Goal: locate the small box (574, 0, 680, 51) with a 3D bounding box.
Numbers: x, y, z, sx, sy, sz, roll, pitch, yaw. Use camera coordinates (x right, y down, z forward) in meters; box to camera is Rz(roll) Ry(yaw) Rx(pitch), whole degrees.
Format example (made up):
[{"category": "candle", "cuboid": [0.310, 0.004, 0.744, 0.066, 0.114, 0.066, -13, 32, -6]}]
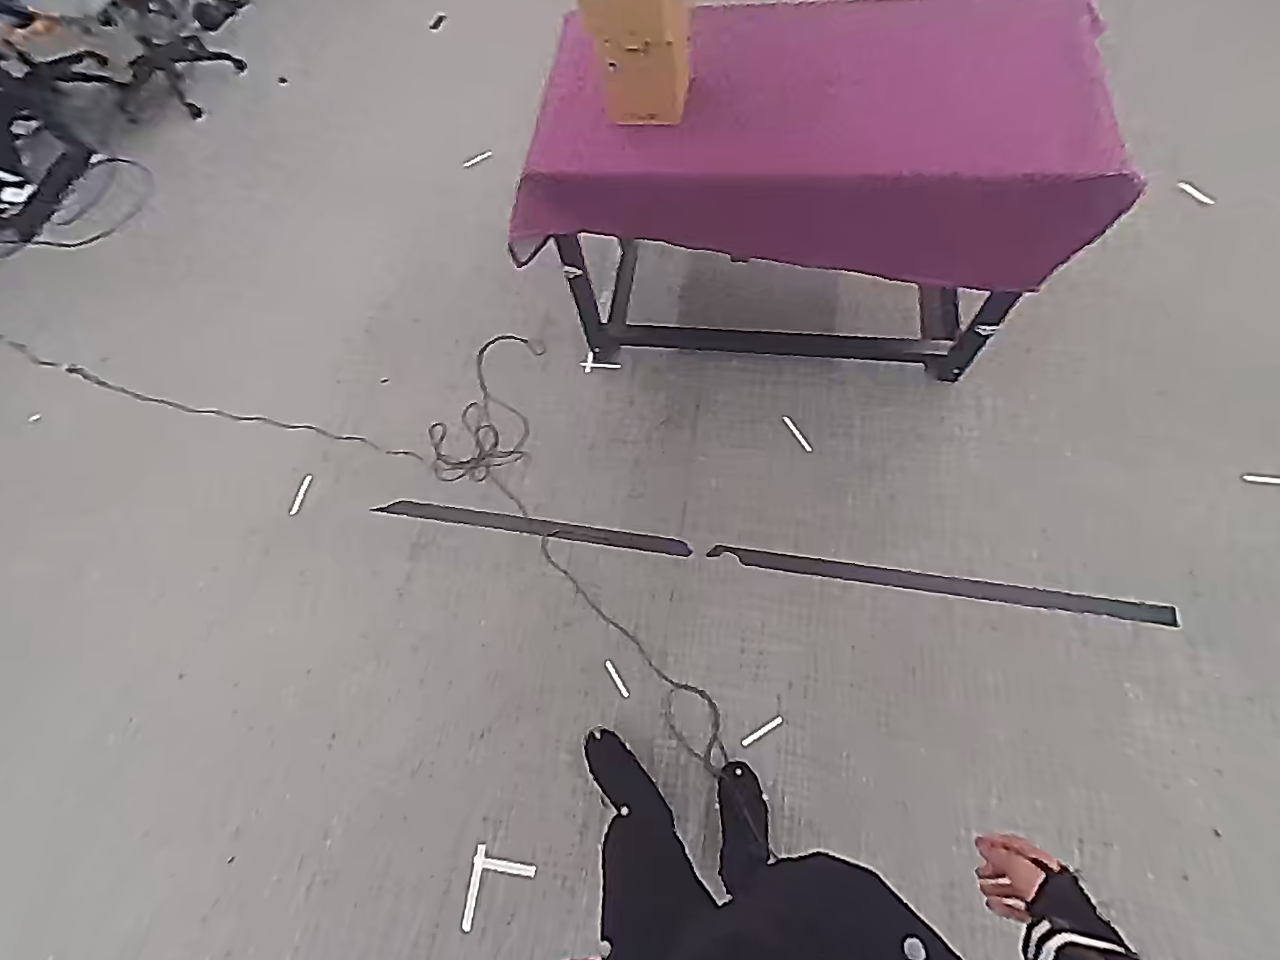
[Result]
[{"category": "small box", "cuboid": [-0.028, -0.967, 1.039, 0.179, 0.176, 0.168, 13, 69, 12]}]
